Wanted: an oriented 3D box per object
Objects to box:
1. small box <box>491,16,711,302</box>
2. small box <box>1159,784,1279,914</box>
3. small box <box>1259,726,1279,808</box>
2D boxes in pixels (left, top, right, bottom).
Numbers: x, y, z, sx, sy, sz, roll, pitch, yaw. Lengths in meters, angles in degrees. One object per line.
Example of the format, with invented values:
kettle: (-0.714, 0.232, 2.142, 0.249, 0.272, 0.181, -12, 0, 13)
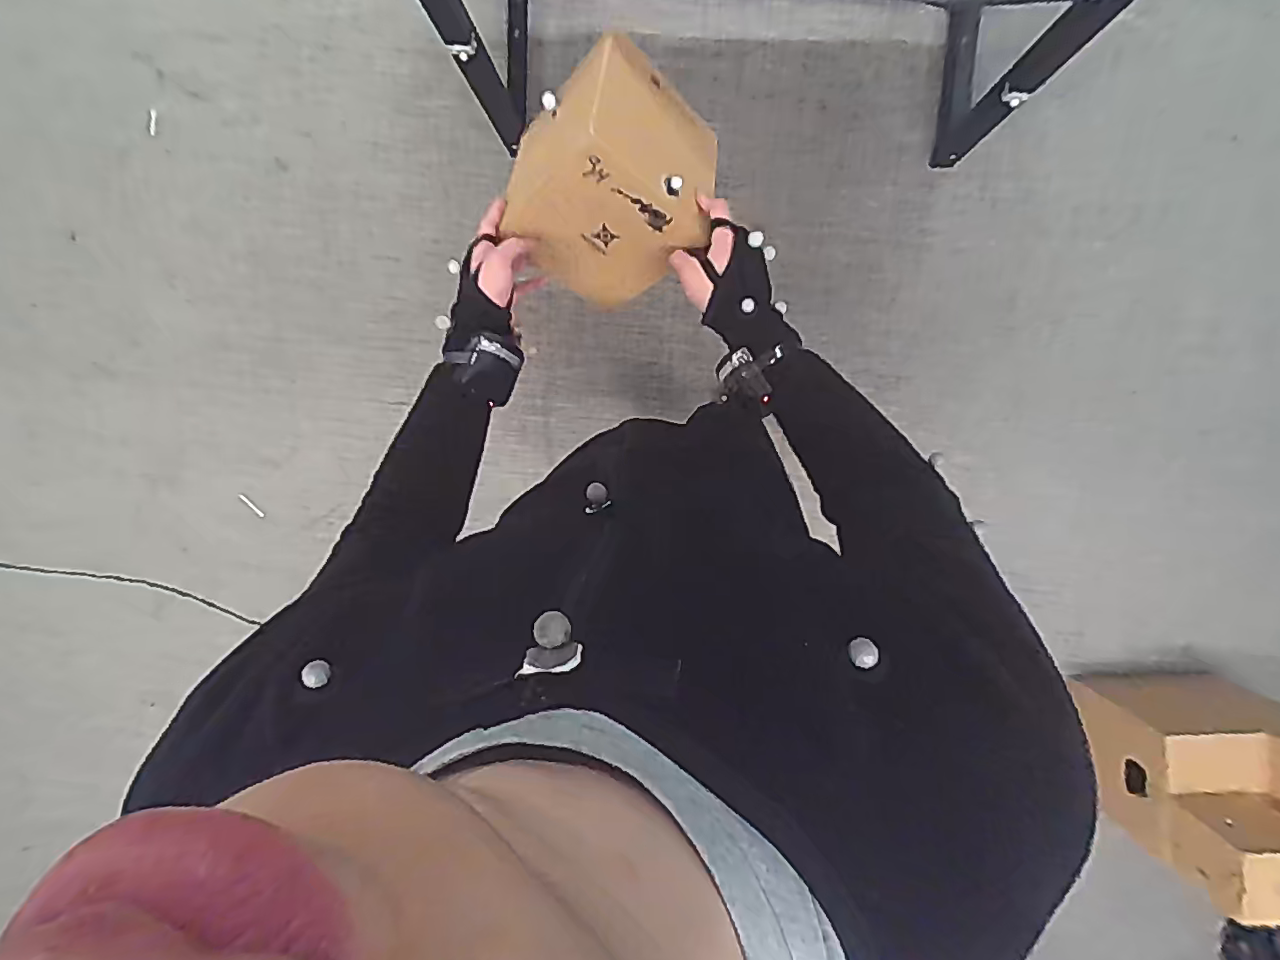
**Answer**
small box: (-0.036, -0.342, 0.604, 0.168, 0.179, 0.176, 25, 62, -38)
small box: (1.300, 0.800, 1.187, 0.179, 0.176, 0.168, -6, 99, 1)
small box: (1.504, 0.656, 1.161, 0.168, 0.176, 0.179, -1, 93, 3)
